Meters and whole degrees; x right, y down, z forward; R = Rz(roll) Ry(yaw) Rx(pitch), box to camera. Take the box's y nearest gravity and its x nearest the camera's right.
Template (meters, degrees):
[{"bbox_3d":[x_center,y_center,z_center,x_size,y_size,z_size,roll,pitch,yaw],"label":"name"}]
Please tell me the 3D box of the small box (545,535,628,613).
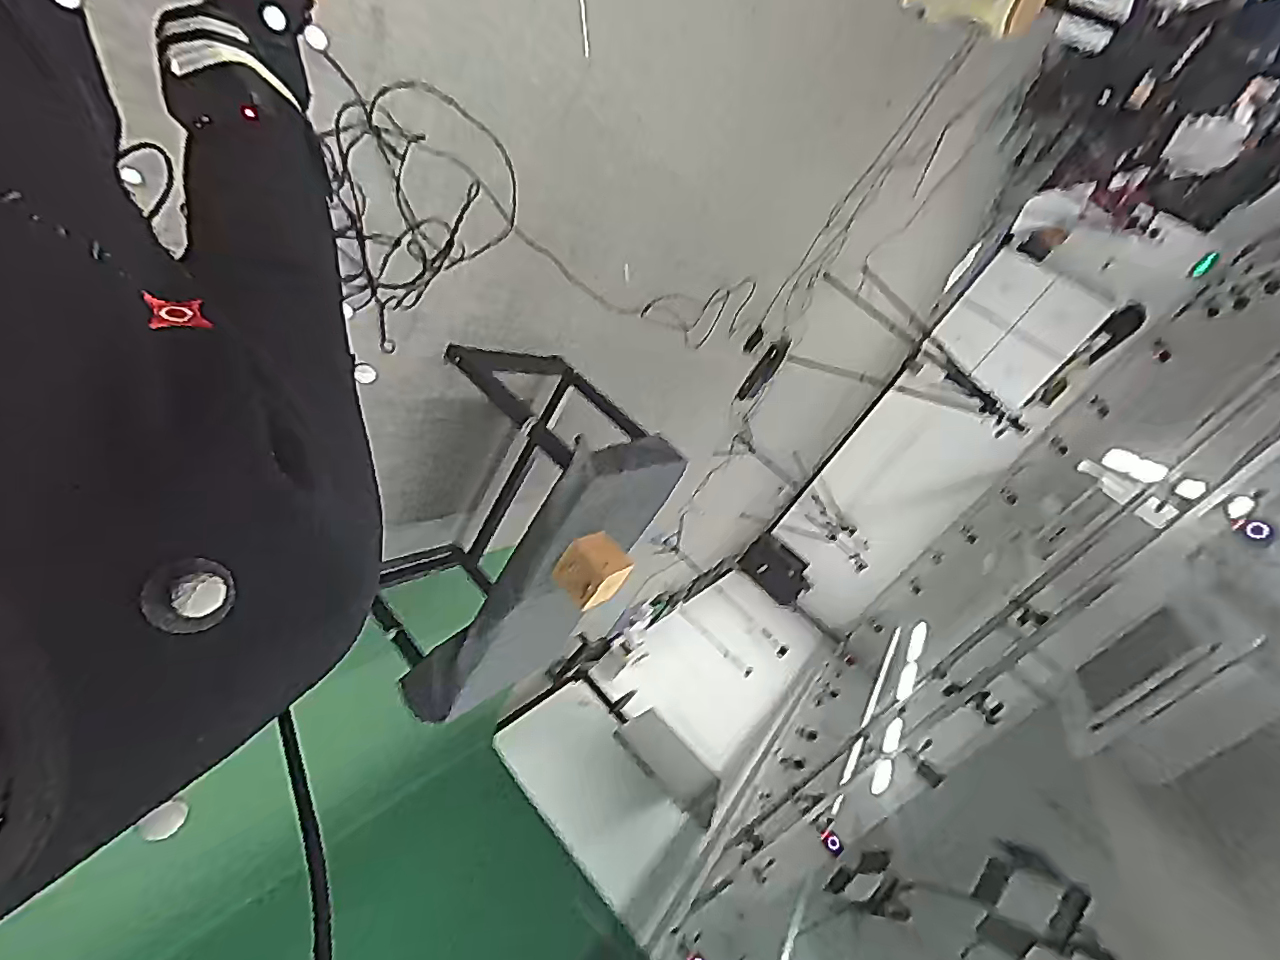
[{"bbox_3d":[-0.180,0.304,1.800,0.168,0.176,0.179,-56,159,23],"label":"small box"}]
